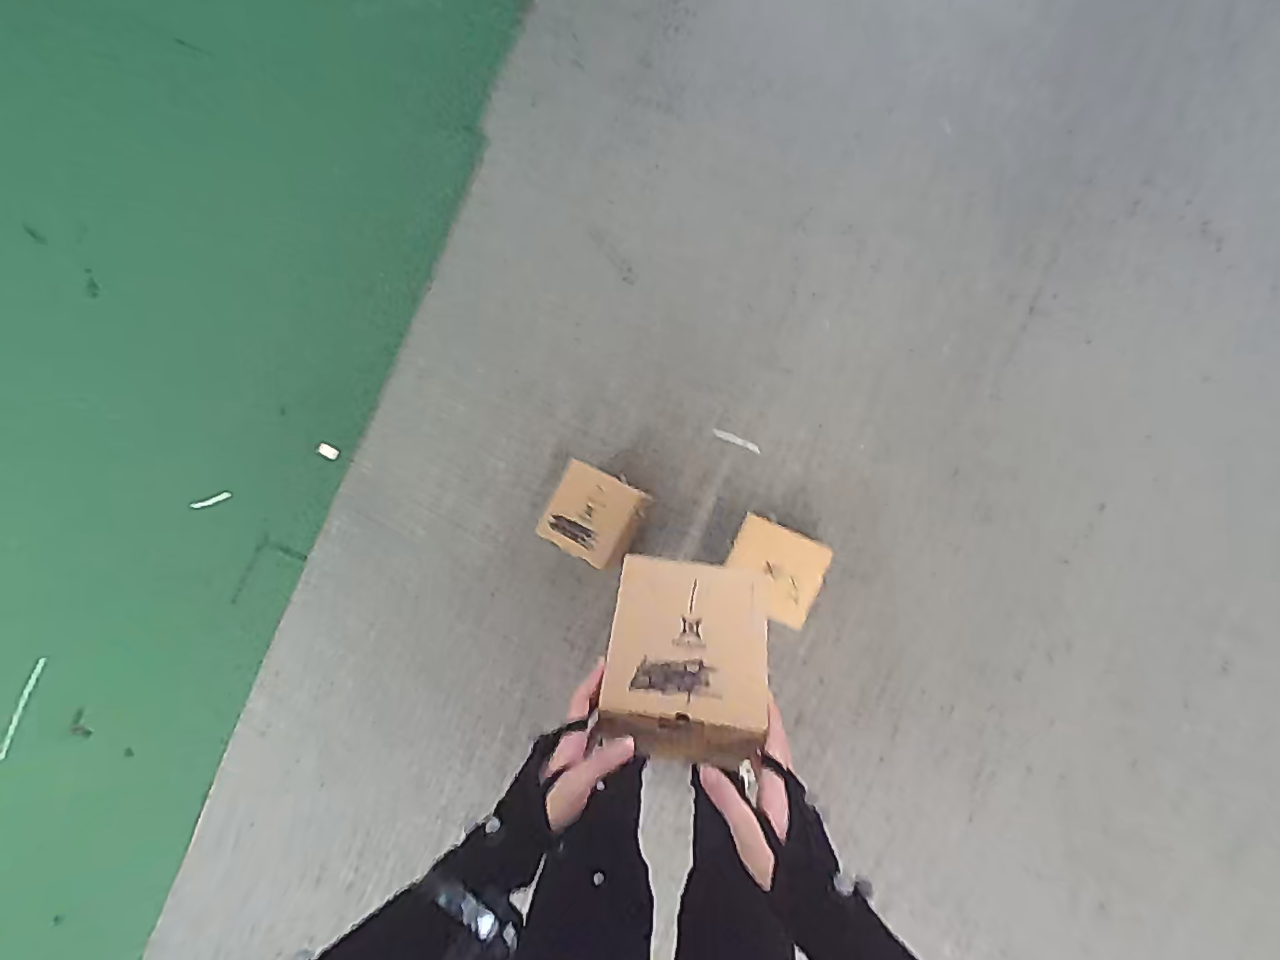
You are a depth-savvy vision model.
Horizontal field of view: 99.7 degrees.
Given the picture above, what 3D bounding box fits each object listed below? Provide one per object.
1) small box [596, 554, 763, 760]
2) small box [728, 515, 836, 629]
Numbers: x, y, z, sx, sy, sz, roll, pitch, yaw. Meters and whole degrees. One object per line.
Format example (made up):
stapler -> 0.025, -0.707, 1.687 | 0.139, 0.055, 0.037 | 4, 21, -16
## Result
small box -> 0.049, 0.211, 0.633 | 0.168, 0.176, 0.179 | 6, 51, 4
small box -> 0.276, 0.183, 1.116 | 0.179, 0.176, 0.168 | 24, 91, 11
